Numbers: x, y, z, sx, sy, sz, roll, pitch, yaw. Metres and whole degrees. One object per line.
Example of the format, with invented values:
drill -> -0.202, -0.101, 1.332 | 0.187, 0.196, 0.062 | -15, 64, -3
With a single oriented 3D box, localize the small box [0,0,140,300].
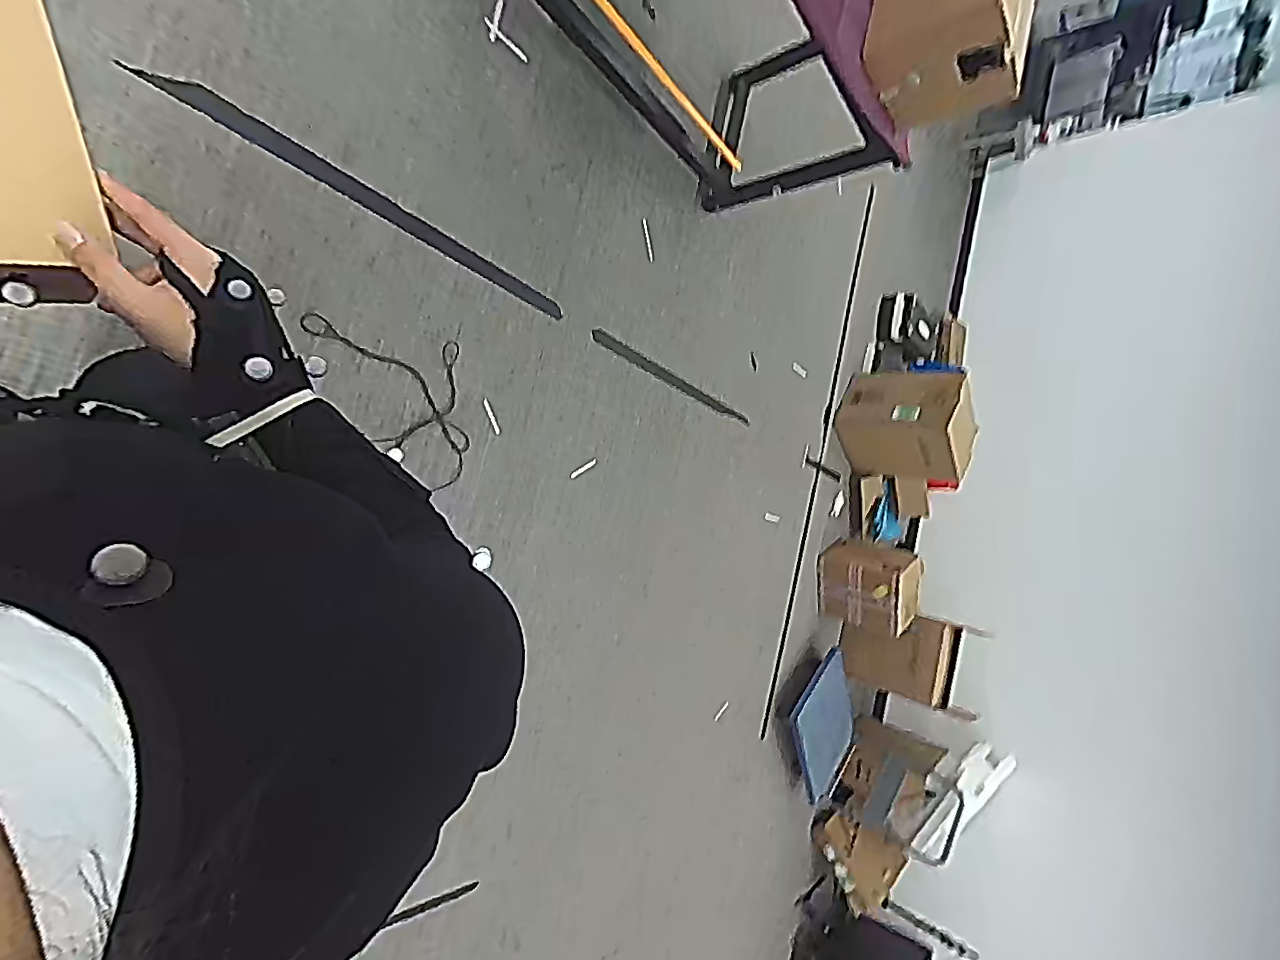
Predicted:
small box -> -0.435, -0.200, 0.307 | 0.179, 0.176, 0.168 | -19, 109, -48

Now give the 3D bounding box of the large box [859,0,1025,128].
large box -> 0.809, -1.259, 1.431 | 0.320, 0.320, 0.408 | 17, 83, -48
